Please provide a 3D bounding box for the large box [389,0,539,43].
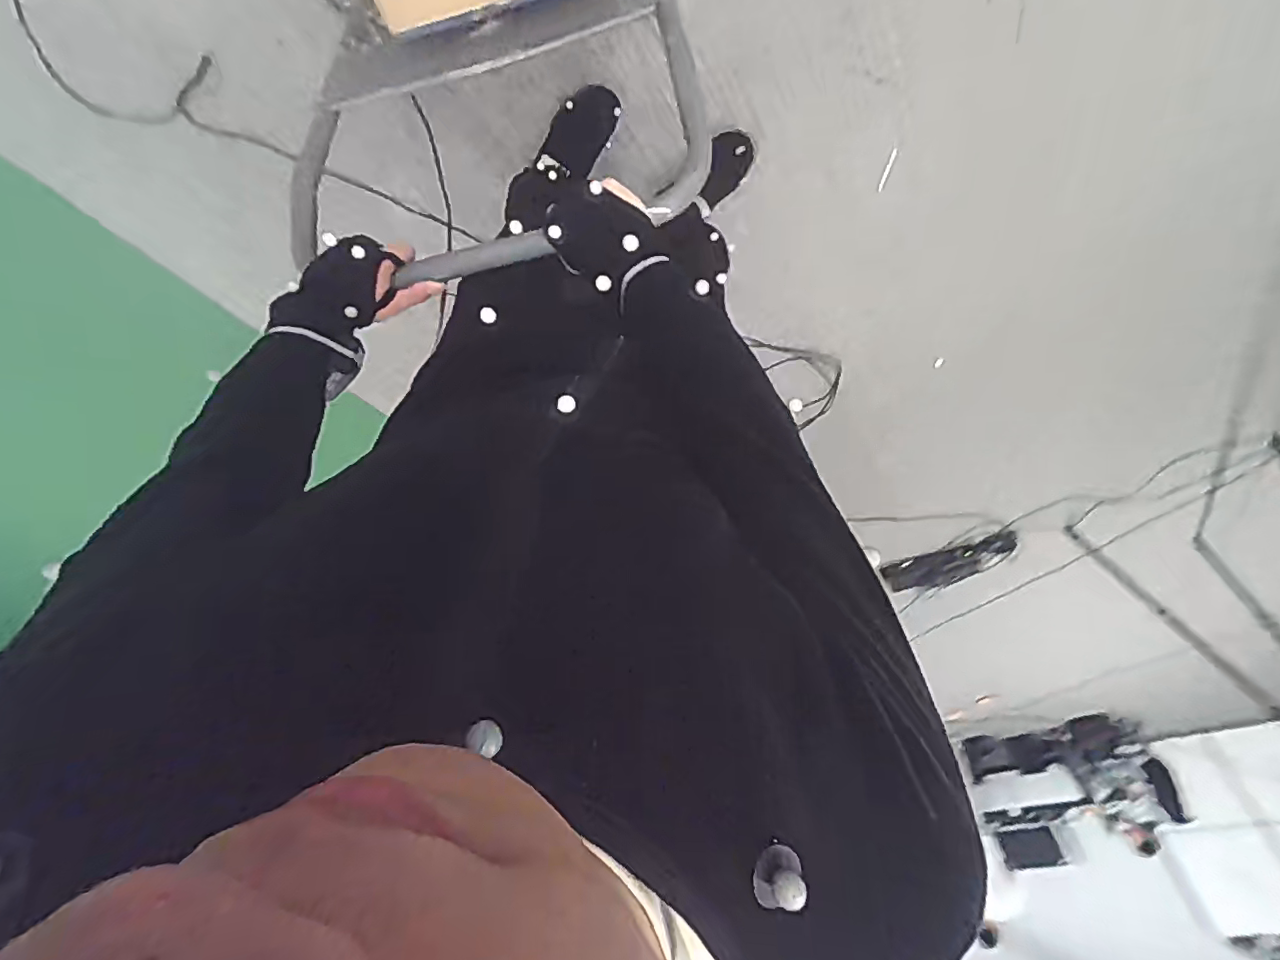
[{"bbox_3d":[-0.228,-0.861,0.650,0.320,0.320,0.408,-11,146,9],"label":"large box"}]
